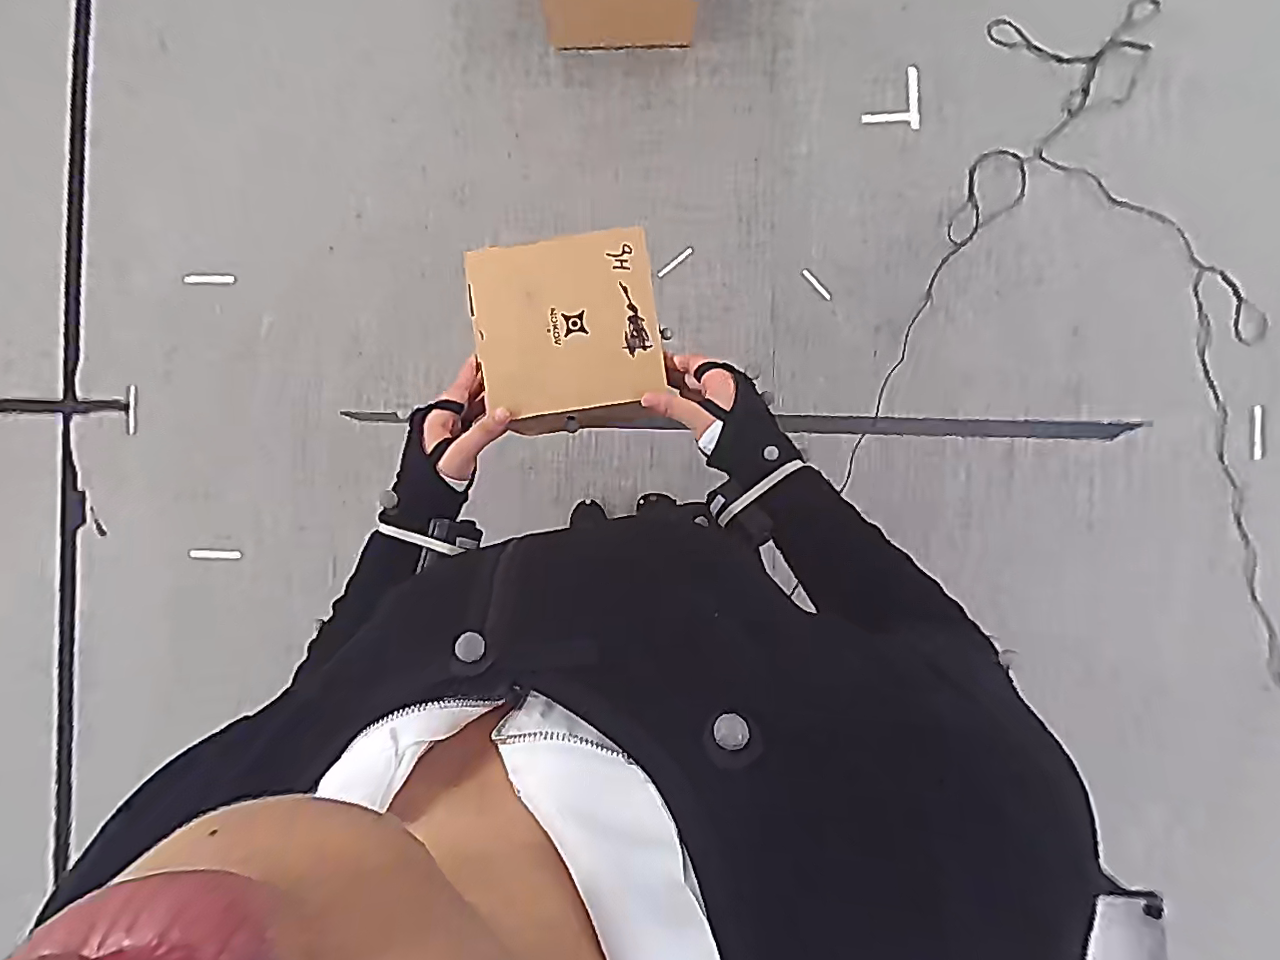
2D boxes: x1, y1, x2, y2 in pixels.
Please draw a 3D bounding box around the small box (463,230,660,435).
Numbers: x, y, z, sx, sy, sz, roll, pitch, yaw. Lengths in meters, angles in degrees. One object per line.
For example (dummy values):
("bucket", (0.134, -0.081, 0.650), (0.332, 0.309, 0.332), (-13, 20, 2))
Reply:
("small box", (-0.074, -0.146, 0.595), (0.179, 0.176, 0.168), (-8, 90, 0))
